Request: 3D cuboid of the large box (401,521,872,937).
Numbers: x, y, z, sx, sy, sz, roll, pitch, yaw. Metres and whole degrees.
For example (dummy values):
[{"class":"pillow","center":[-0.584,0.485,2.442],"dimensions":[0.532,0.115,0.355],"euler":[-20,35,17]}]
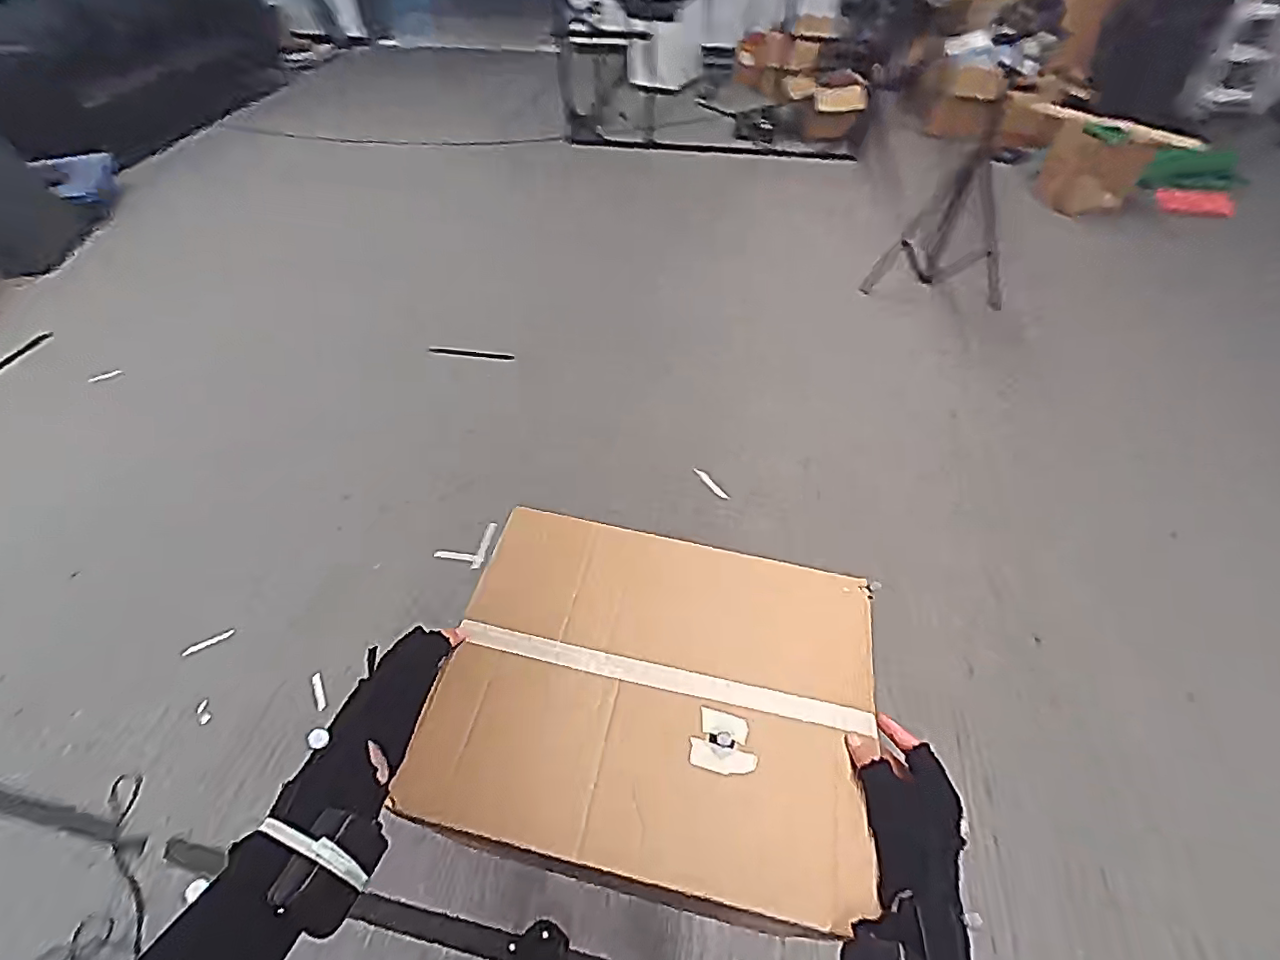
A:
[{"class":"large box","center":[0.011,0.294,0.645],"dimensions":[0.408,0.320,0.320],"euler":[12,52,6]}]
